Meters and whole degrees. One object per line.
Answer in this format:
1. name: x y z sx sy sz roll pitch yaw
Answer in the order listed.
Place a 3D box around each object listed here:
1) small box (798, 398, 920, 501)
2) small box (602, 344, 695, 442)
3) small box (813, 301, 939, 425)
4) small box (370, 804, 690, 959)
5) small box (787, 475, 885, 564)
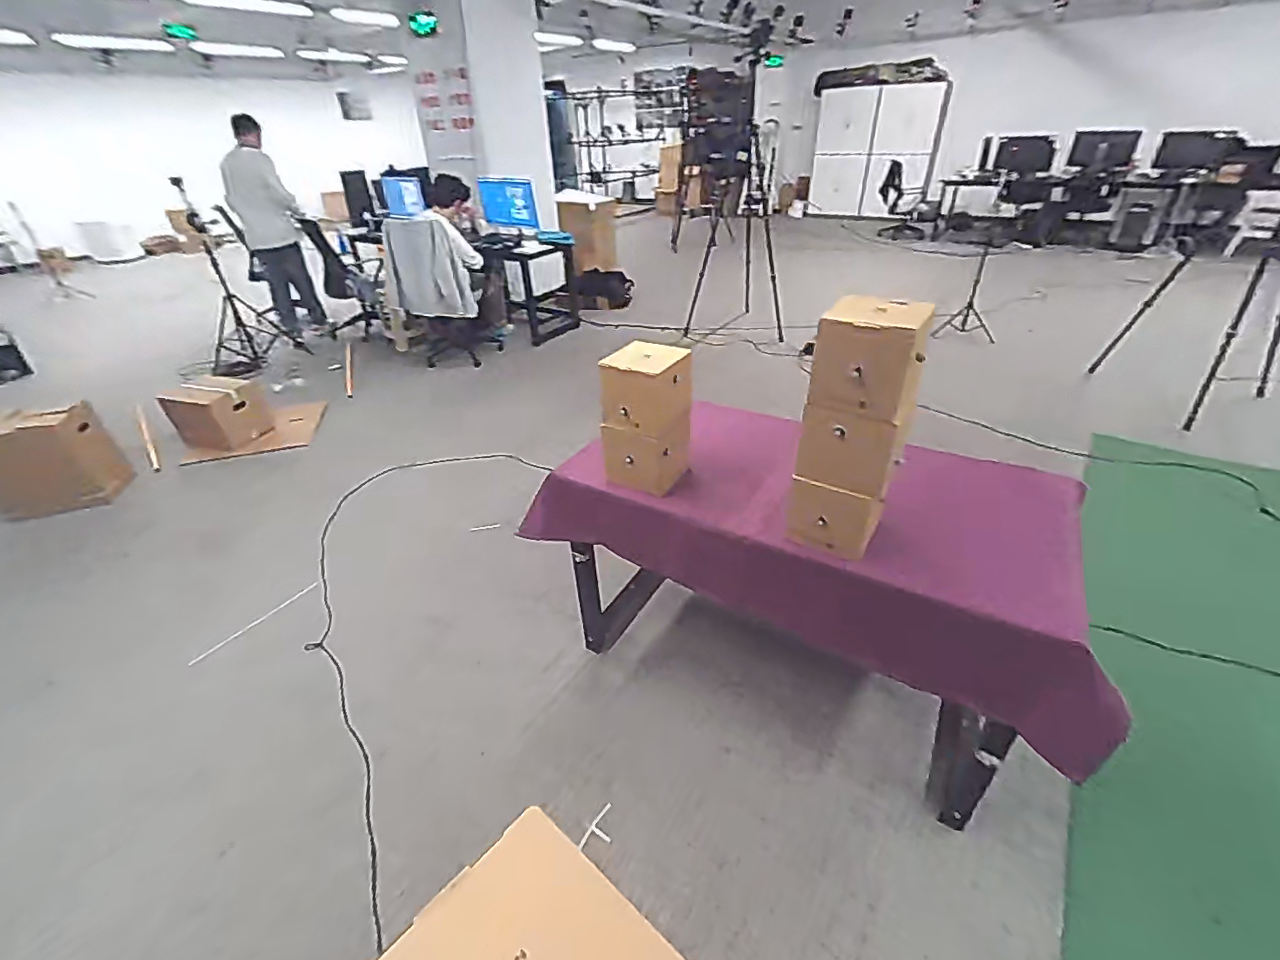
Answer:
1. small box: 0.438 -0.080 1.100 0.179 0.176 0.168 20 40 29
2. small box: 0.023 -0.217 1.336 0.168 0.176 0.179 17 38 27
3. small box: 0.436 -0.222 1.016 0.168 0.176 0.179 20 40 30
4. small box: -0.069 0.383 0.368 0.179 0.176 0.168 23 38 36
5. small box: 0.436 0.057 1.191 0.168 0.176 0.179 20 39 29
